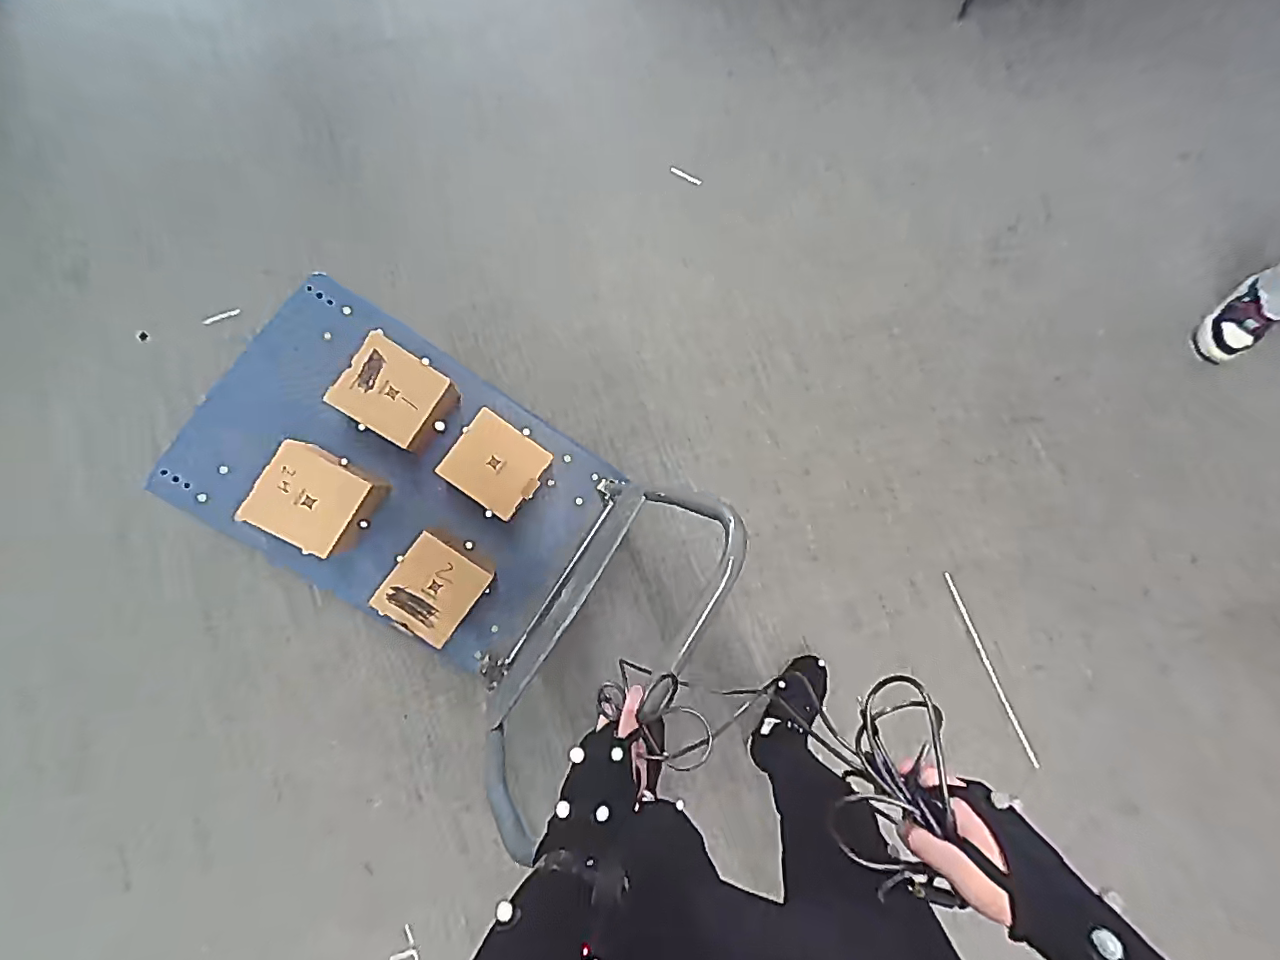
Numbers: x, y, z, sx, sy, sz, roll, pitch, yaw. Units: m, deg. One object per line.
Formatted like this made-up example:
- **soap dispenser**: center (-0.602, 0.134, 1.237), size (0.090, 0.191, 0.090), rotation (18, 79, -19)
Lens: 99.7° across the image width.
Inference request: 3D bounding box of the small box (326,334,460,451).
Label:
- **small box**: center (-0.501, -0.170, 1.126), size (0.179, 0.176, 0.168), rotation (34, 83, -10)

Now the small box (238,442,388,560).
- **small box**: center (-0.643, 0.040, 1.093), size (0.179, 0.176, 0.168), rotation (32, 82, -10)

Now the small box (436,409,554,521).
- **small box**: center (-0.308, -0.026, 1.168), size (0.179, 0.176, 0.168), rotation (37, 82, -10)
